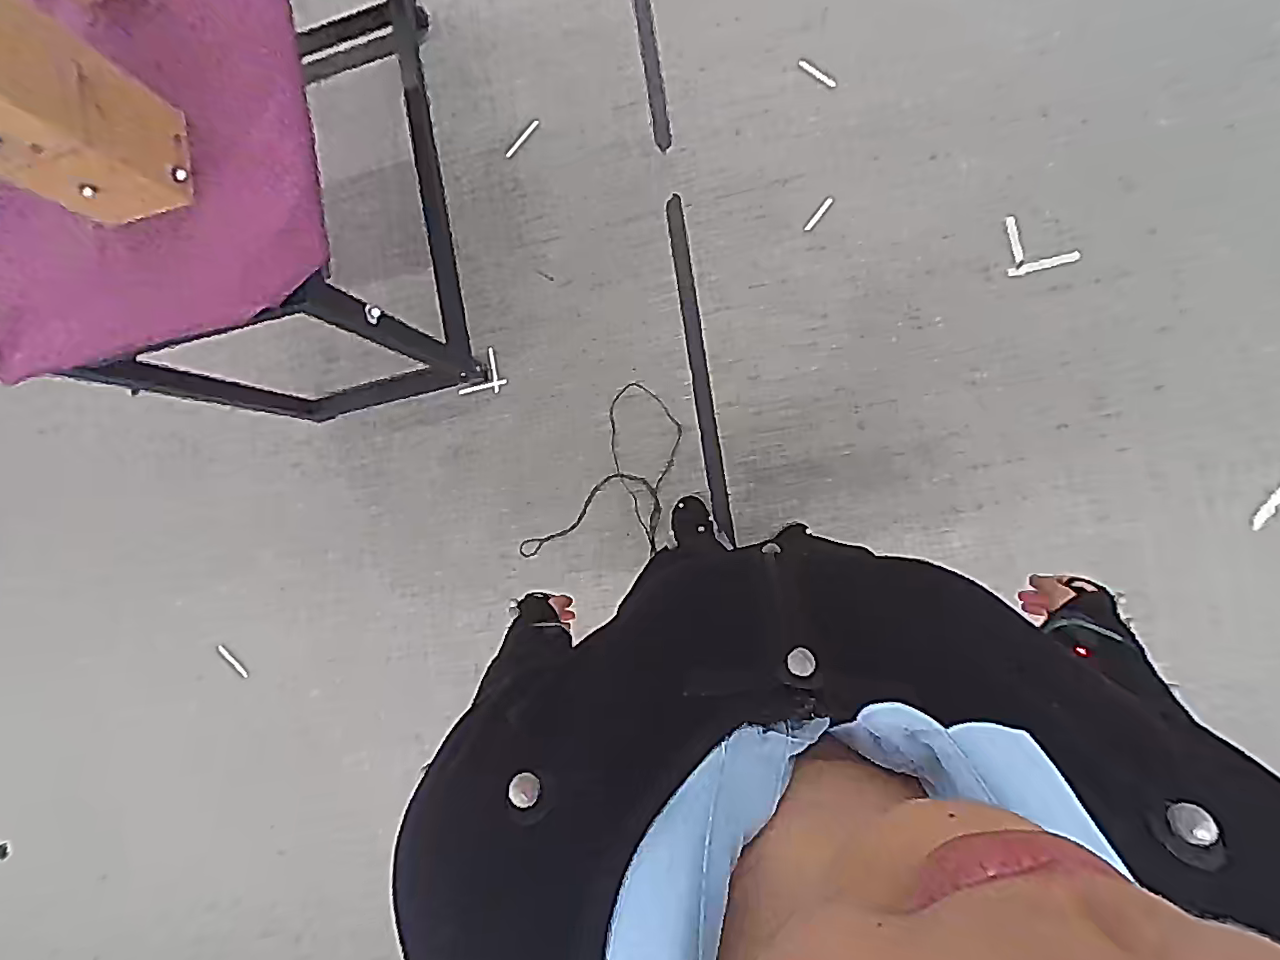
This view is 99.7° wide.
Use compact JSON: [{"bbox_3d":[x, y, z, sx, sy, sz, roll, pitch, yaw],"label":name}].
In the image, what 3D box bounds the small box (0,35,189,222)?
[{"bbox_3d":[-0.870,-0.548,0.867,0.179,0.176,0.168,-10,86,8],"label":"small box"}]
